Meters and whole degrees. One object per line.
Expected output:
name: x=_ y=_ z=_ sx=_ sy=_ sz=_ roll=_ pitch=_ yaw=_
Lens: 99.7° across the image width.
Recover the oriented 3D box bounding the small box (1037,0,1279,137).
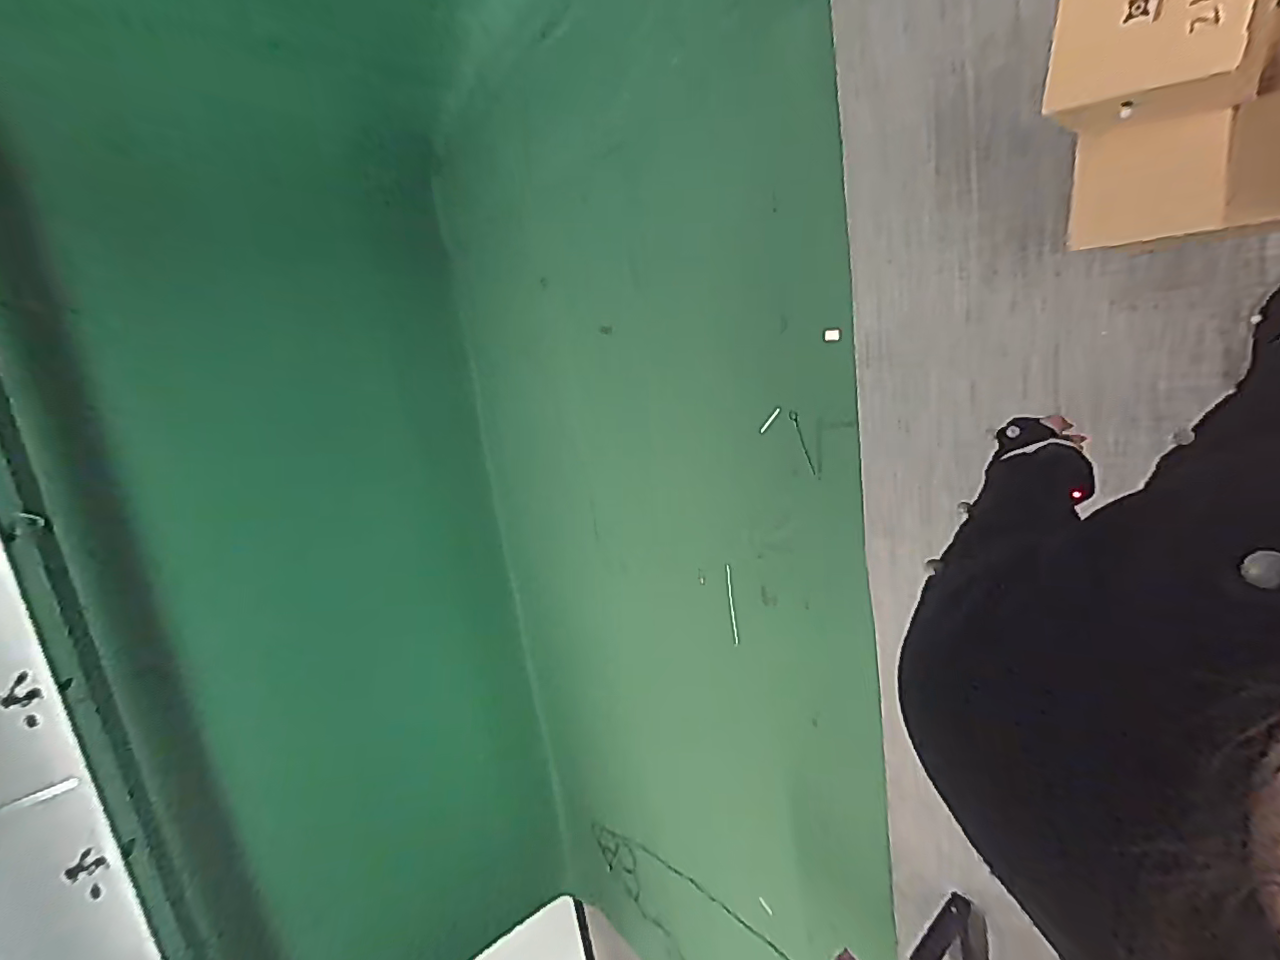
small box: x=0.620 y=-0.530 z=0.645 sx=0.179 sy=0.176 sz=0.168 roll=20 pitch=118 yaw=48
